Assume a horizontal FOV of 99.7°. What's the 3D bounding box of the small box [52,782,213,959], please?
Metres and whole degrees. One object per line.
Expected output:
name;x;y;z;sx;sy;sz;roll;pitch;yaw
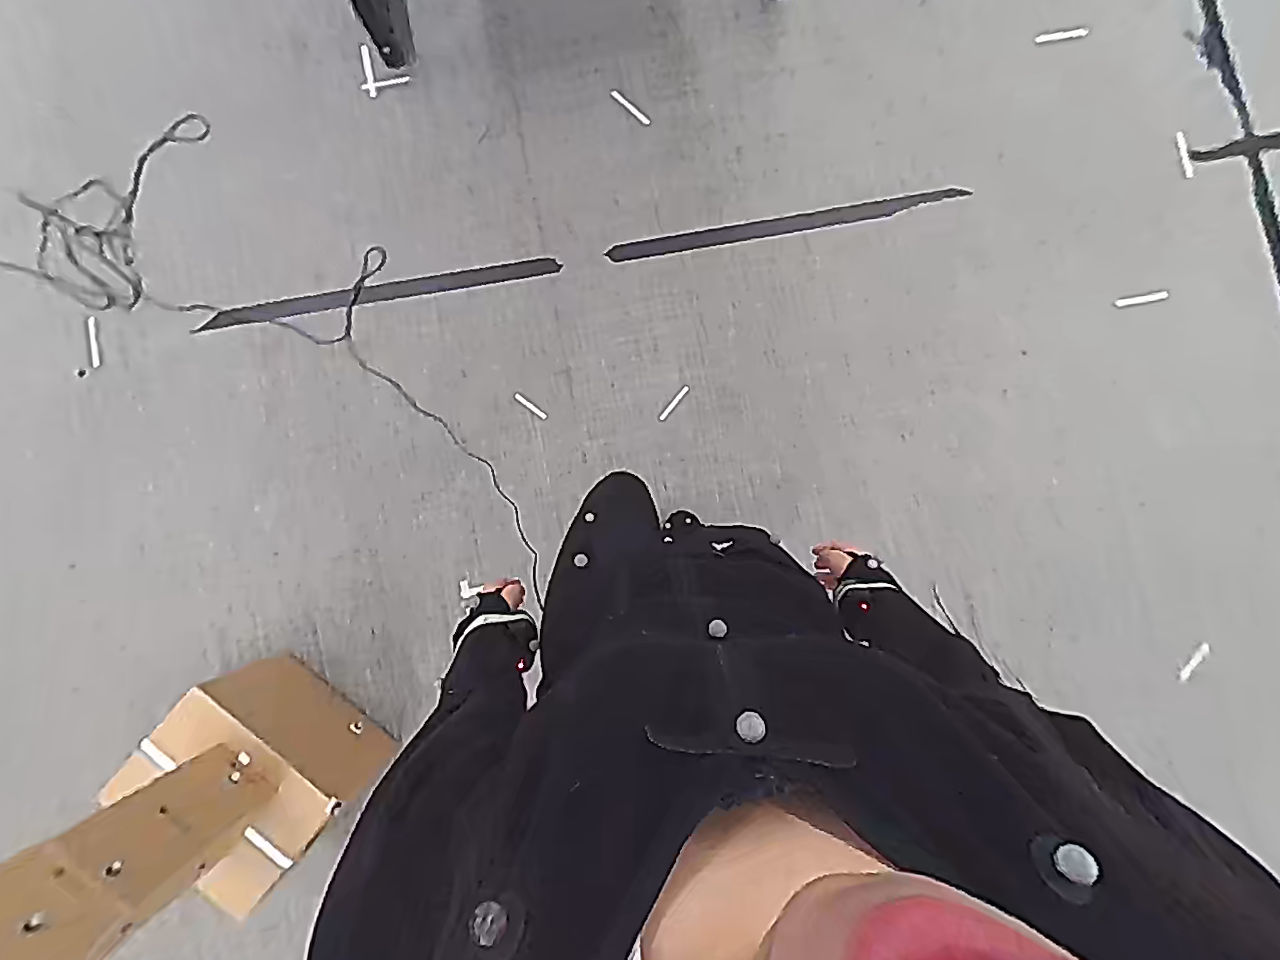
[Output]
small box;-0.874;0.654;0.894;0.168;0.176;0.179;38;88;2

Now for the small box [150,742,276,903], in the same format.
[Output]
small box;-0.872;0.661;1.058;0.168;0.176;0.179;38;87;2

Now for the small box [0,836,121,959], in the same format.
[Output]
small box;-0.875;0.640;0.732;0.168;0.176;0.179;38;88;2
